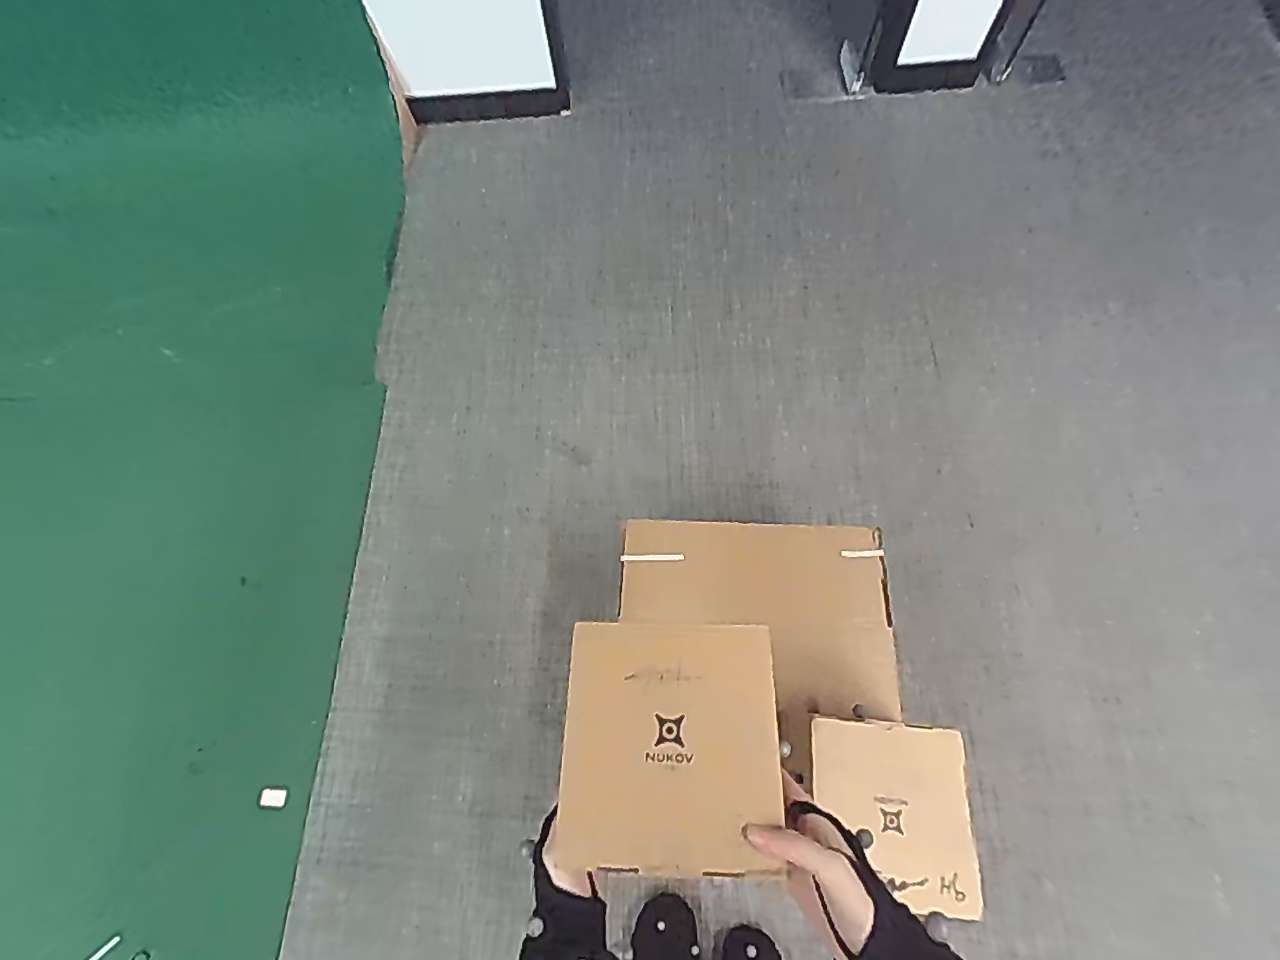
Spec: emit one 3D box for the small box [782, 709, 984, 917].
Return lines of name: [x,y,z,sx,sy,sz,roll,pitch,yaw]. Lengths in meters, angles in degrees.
small box: [0.266,0.374,0.640,0.168,0.176,0.179,4,67,5]

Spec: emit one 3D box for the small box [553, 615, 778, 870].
small box: [0.028,0.232,0.492,0.168,0.176,0.179,0,61,5]
